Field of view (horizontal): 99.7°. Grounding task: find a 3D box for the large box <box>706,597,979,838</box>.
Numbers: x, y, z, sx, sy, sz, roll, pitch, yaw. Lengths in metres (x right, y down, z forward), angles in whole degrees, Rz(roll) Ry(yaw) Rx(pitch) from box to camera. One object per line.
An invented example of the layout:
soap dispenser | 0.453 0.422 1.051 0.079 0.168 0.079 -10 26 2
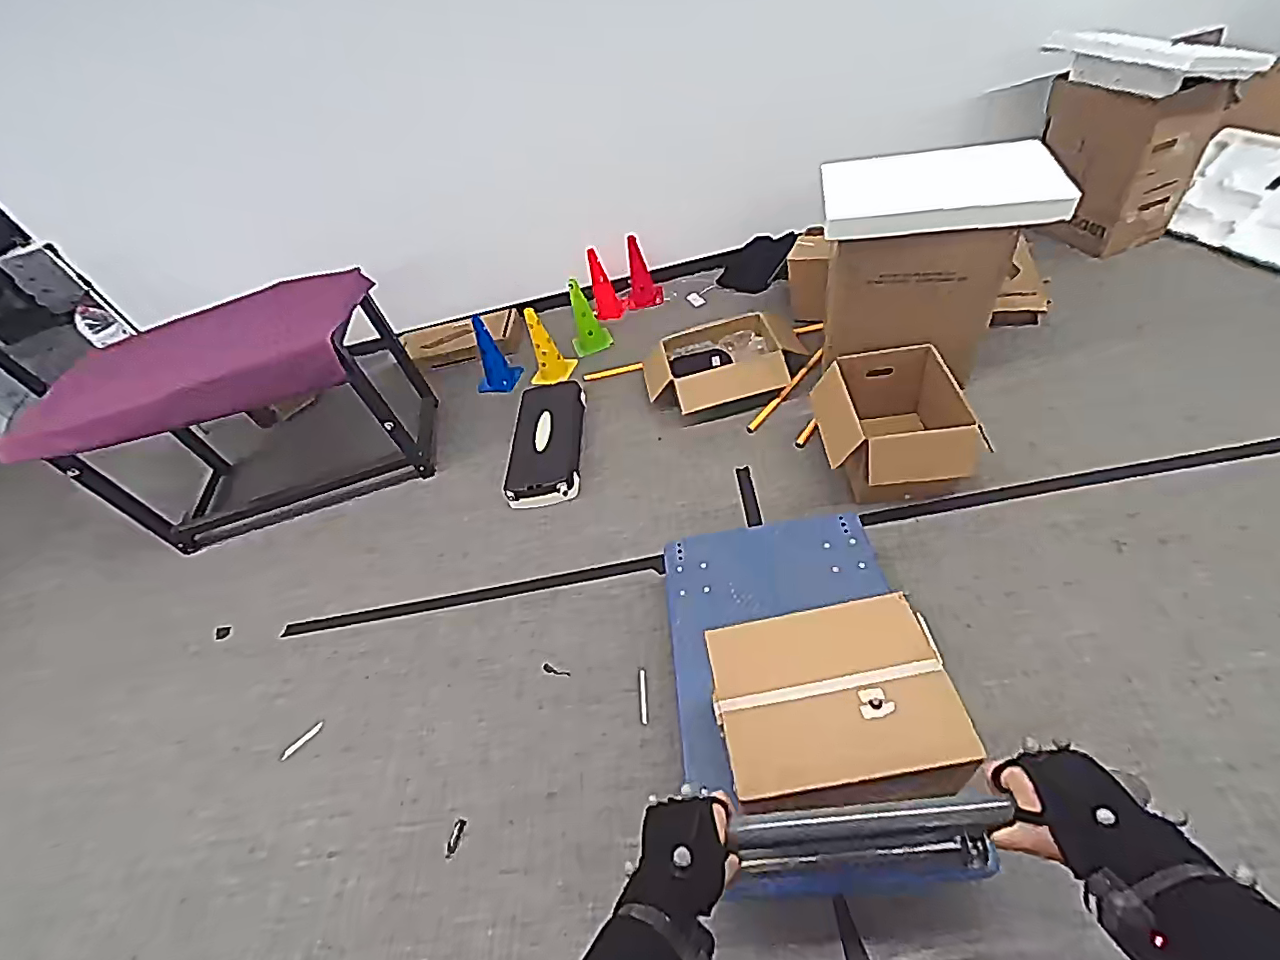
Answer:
large box | 0.373 0.487 1.098 0.408 0.320 0.320 -12 46 4
